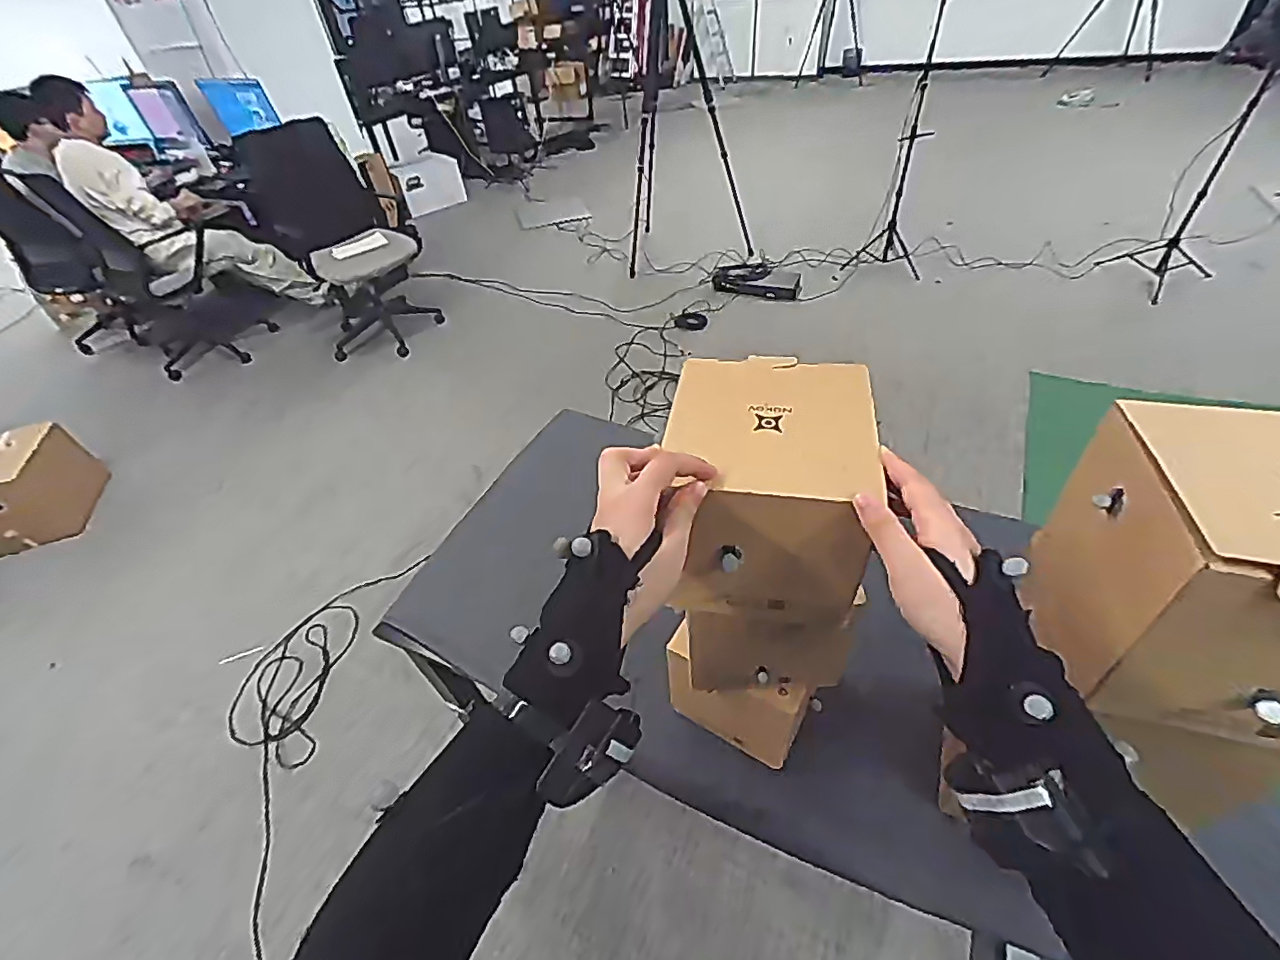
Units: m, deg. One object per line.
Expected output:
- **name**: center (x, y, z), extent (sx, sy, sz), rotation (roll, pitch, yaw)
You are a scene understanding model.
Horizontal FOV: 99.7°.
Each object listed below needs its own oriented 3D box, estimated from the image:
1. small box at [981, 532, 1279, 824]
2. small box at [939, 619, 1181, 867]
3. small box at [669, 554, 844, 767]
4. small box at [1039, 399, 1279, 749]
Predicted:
- **small box**: center (0.441, 0.180, 0.508), extent (0.168, 0.176, 0.179), rotation (10, 45, 19)
- **small box**: center (0.457, 0.298, 0.619), extent (0.168, 0.176, 0.179), rotation (14, 45, 21)
- **small box**: center (0.151, 0.238, 0.725), extent (0.168, 0.176, 0.179), rotation (21, 49, 27)
- **small box**: center (0.425, 0.064, 0.391), extent (0.168, 0.176, 0.179), rotation (7, 43, 17)
